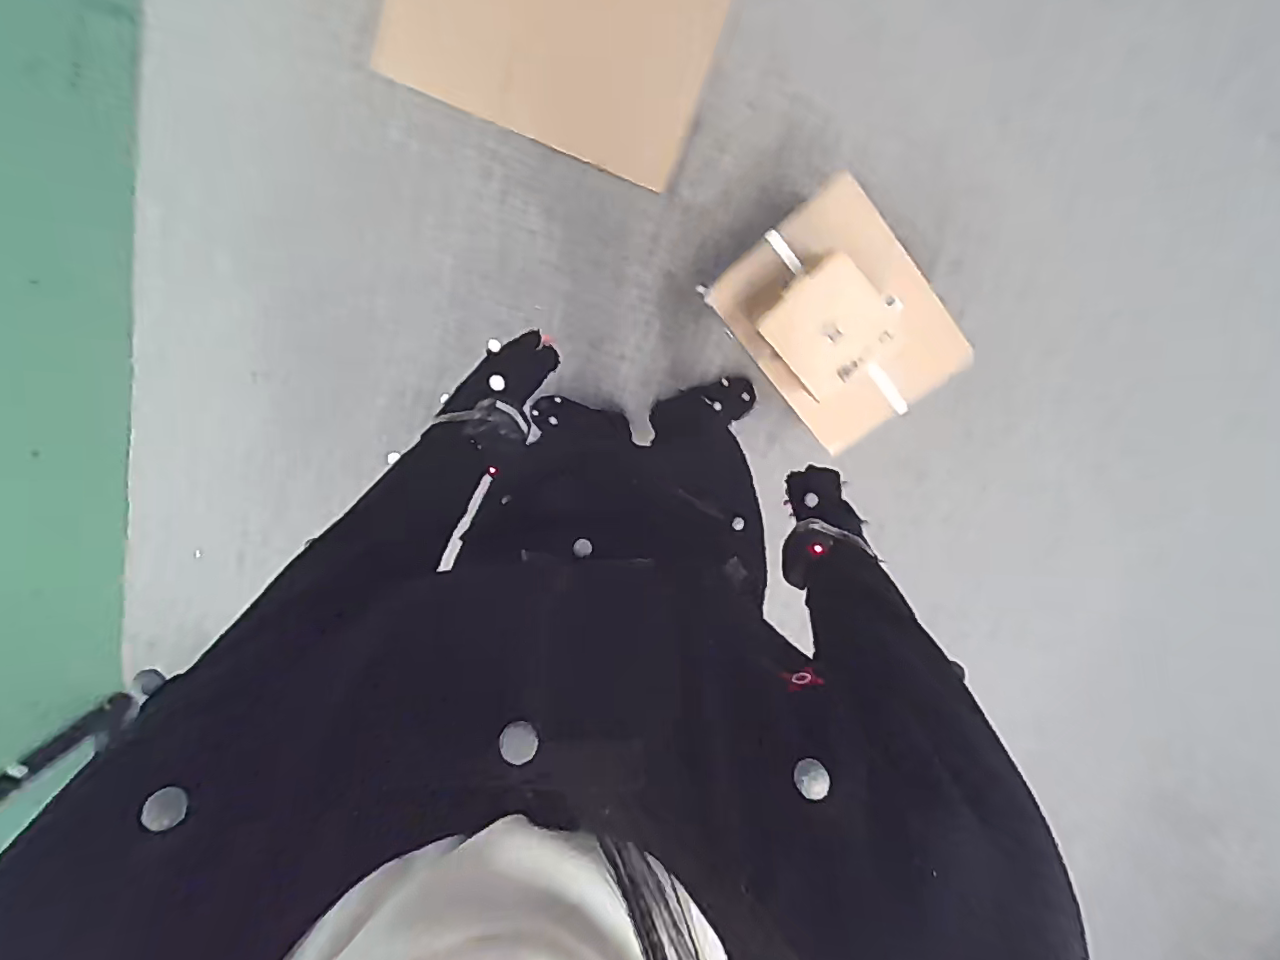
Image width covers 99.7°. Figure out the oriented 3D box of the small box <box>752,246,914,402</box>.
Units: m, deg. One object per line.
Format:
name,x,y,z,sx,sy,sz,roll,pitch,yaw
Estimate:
small box,0.308,-0.257,0.907,0.179,0.176,0.168,44,106,-9
